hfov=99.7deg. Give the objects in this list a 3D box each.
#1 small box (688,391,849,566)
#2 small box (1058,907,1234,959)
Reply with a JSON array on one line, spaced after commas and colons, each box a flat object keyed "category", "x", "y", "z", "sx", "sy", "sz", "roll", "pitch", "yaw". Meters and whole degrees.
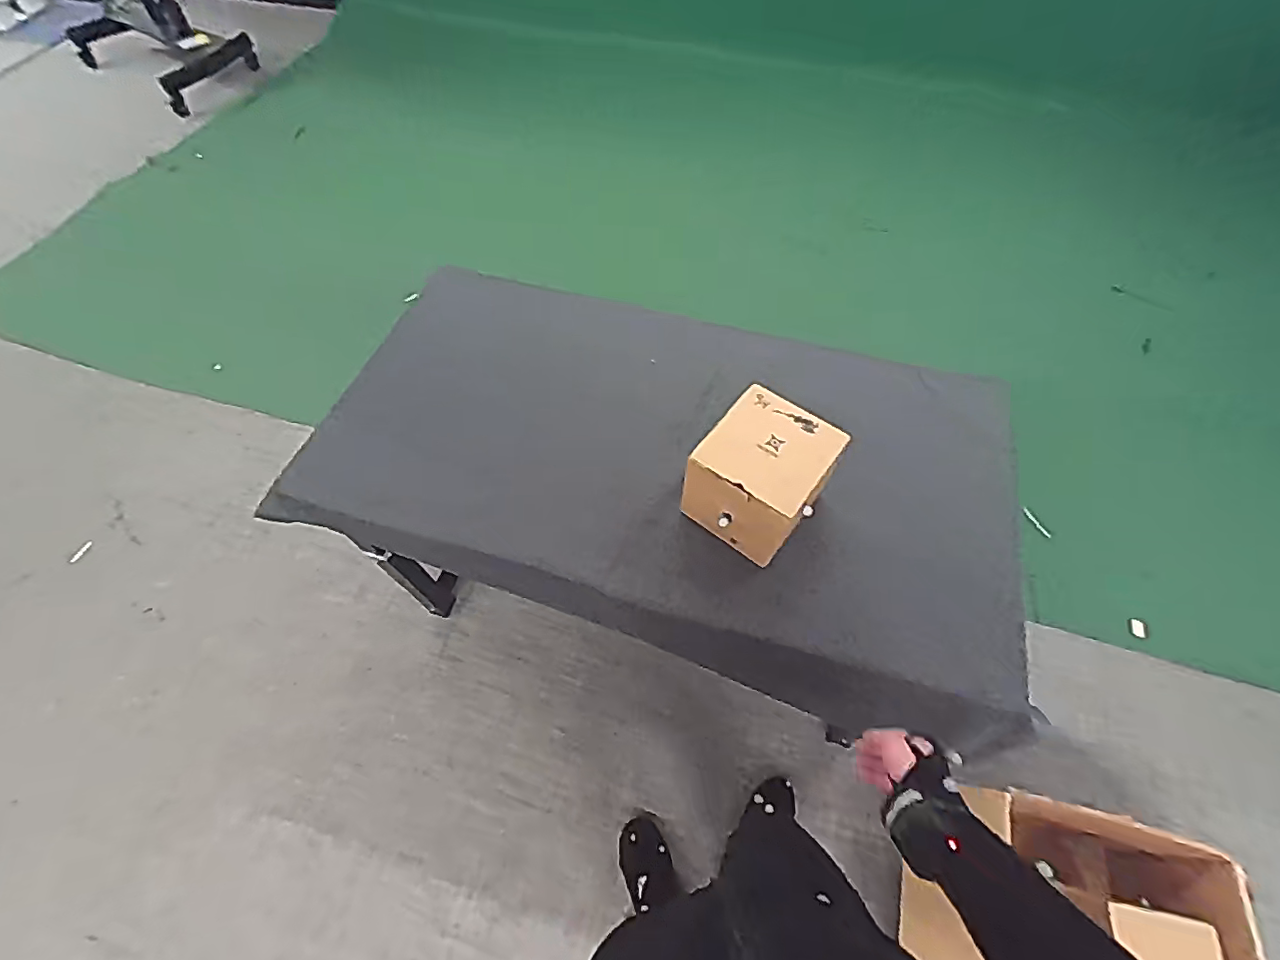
[{"category": "small box", "x": 0.188, "y": 0.004, "z": 0.836, "sx": 0.168, "sy": 0.176, "sz": 0.179, "roll": 35, "pitch": 65, "yaw": 20}, {"category": "small box", "x": 0.875, "y": 0.867, "z": 0.931, "sx": 0.179, "sy": 0.176, "sz": 0.168, "roll": 9, "pitch": 61, "yaw": 7}]
